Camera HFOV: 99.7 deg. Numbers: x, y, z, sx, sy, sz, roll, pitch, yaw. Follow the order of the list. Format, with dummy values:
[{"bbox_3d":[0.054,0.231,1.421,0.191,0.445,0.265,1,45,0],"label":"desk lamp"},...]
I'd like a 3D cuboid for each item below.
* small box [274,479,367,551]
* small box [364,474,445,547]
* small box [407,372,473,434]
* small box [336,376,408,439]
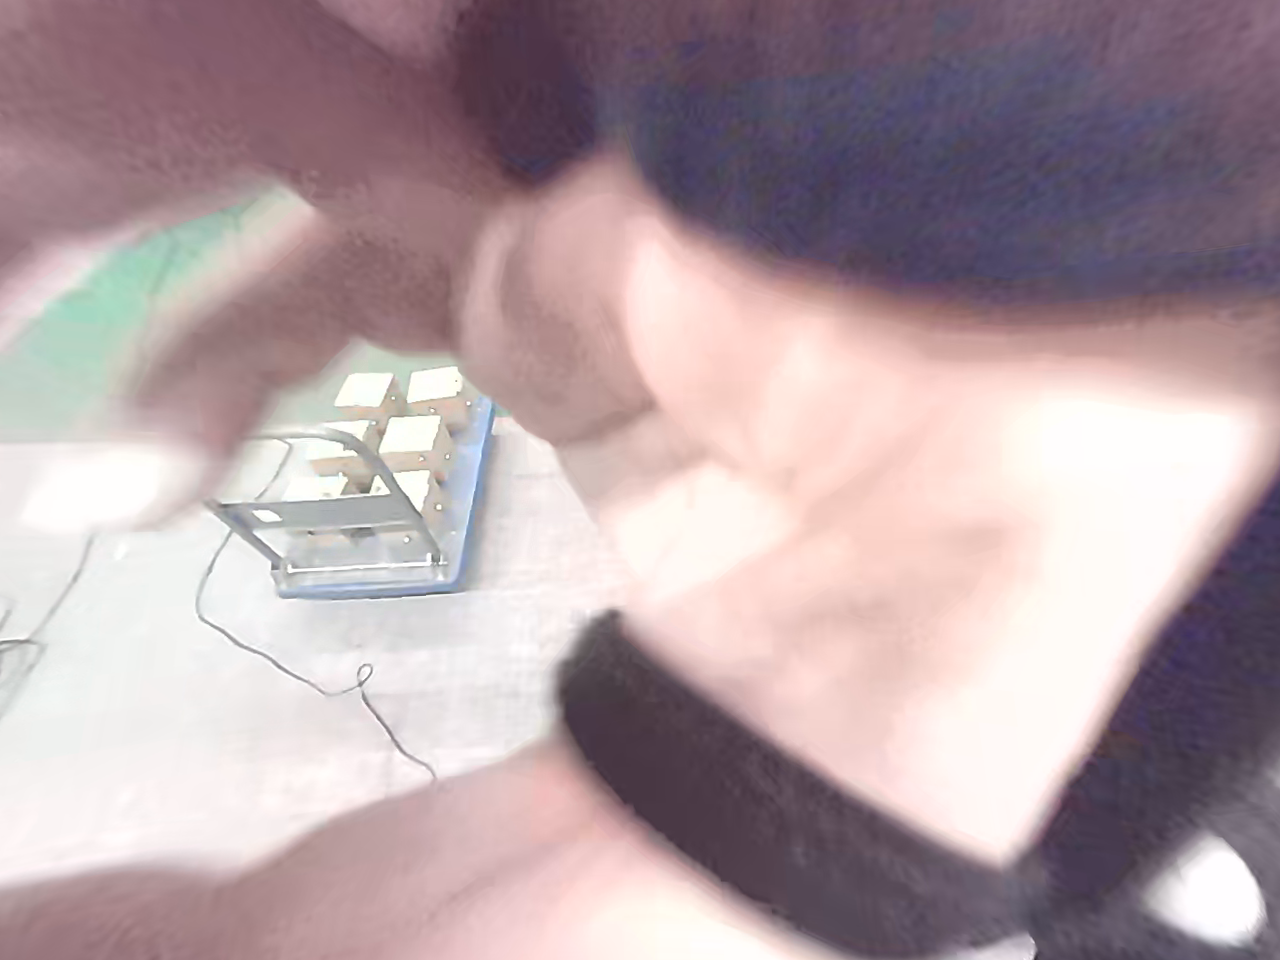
[{"bbox_3d":[-1.000,0.113,1.716,0.179,0.176,0.168,-1,50,2],"label":"small box"},{"bbox_3d":[-0.737,0.100,1.717,0.179,0.176,0.168,-4,50,-2],"label":"small box"},{"bbox_3d":[-0.746,-0.285,2.031,0.179,0.176,0.168,-2,53,-1],"label":"small box"},{"bbox_3d":[-0.998,-0.269,2.033,0.168,0.176,0.179,0,51,1],"label":"small box"}]
